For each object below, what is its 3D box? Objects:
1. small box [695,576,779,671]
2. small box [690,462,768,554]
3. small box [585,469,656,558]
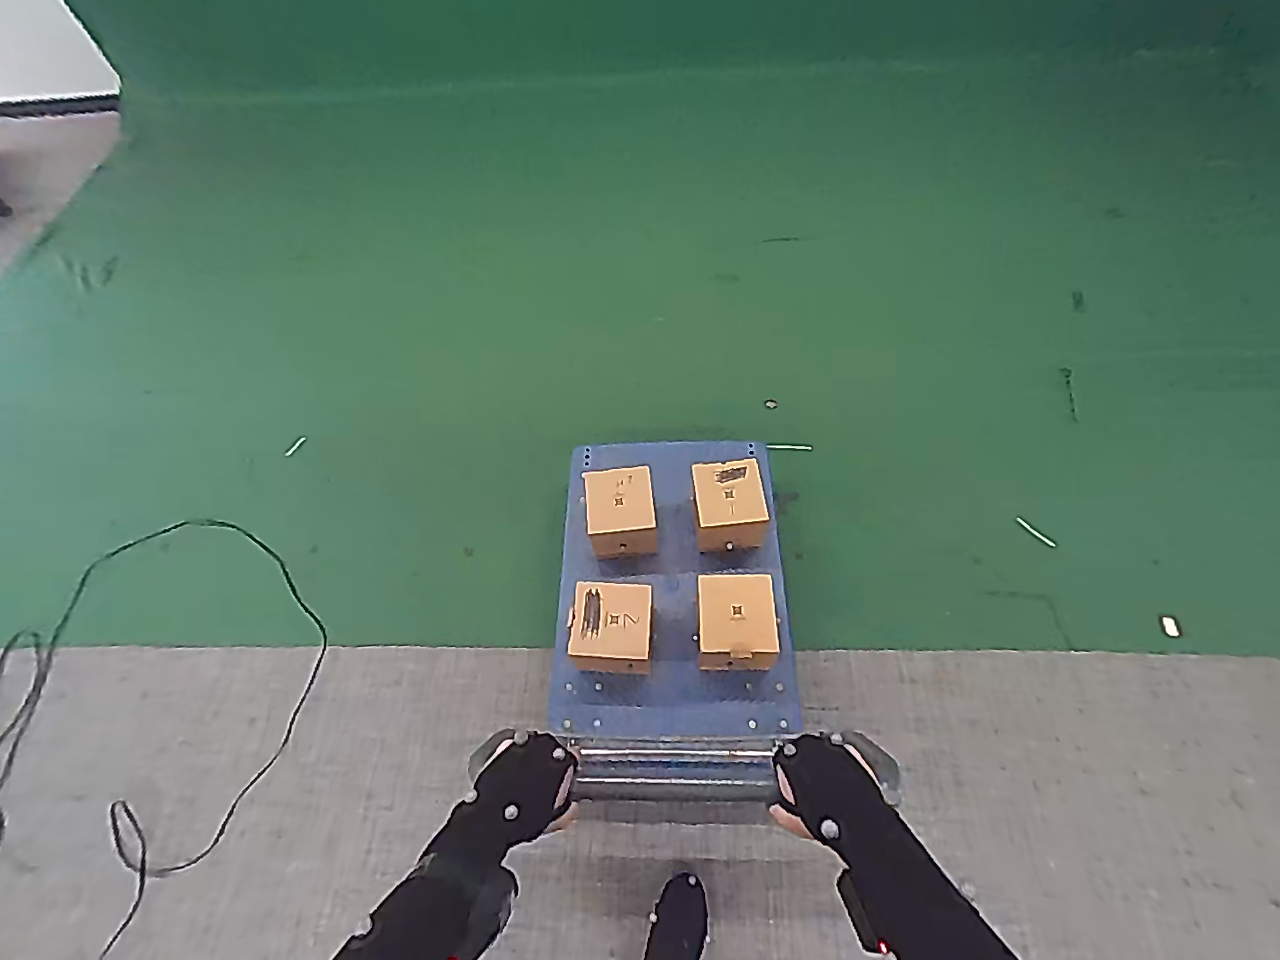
[{"bbox_3d":[0.214,0.333,1.245,0.168,0.176,0.179,-1,61,3],"label":"small box"},{"bbox_3d":[0.220,0.075,1.391,0.168,0.176,0.179,-6,61,1],"label":"small box"},{"bbox_3d":[-0.048,0.094,1.397,0.168,0.176,0.179,-5,60,-1],"label":"small box"}]
